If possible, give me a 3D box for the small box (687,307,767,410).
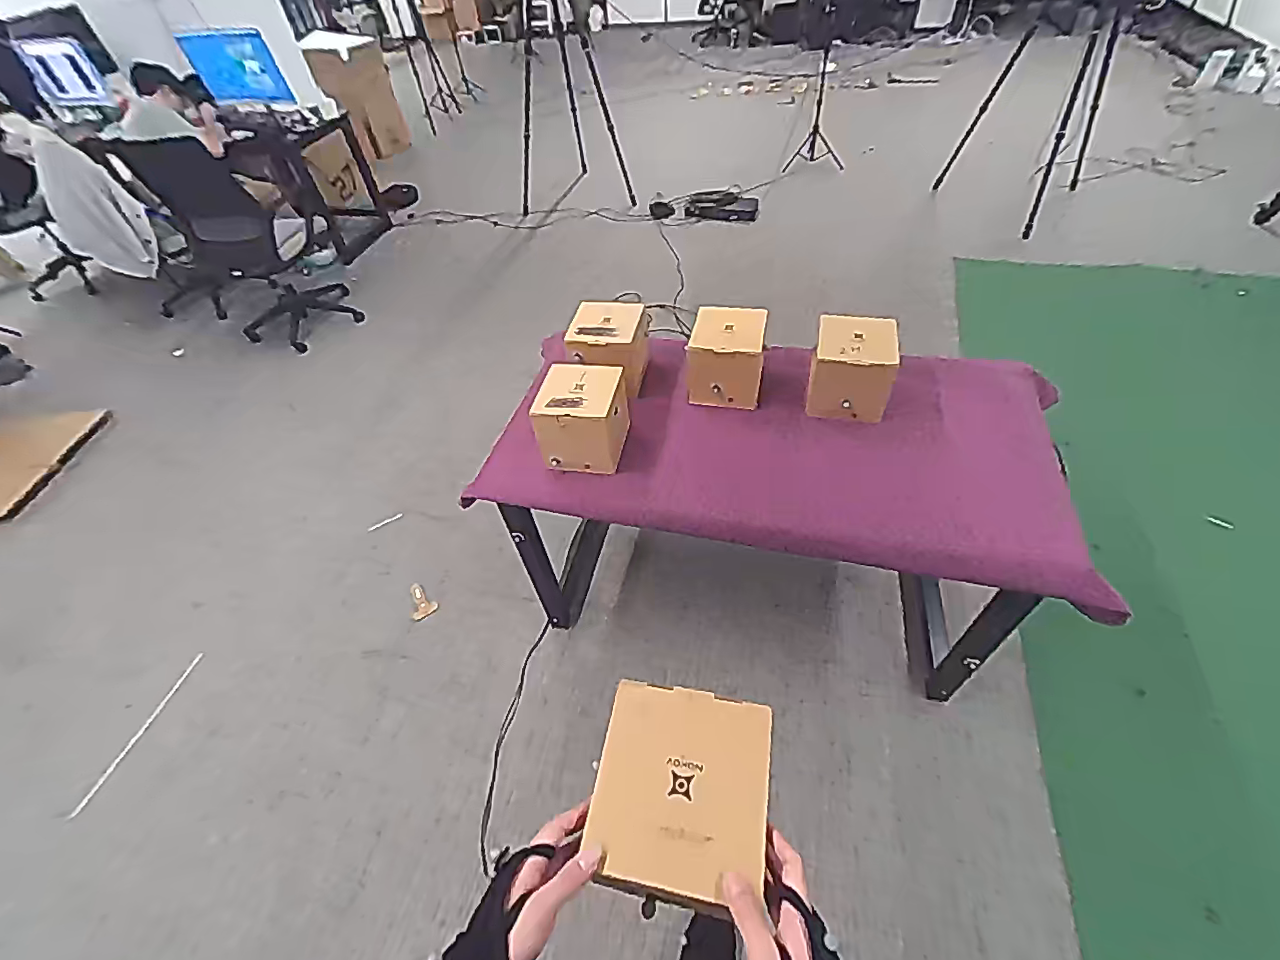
[{"bbox_3d":[0.211,-0.296,1.314,0.168,0.176,0.179,7,51,13],"label":"small box"}]

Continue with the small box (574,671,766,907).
[{"bbox_3d":[0.040,0.337,0.589,0.168,0.176,0.179,6,52,11],"label":"small box"}]

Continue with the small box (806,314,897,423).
[{"bbox_3d":[0.481,-0.256,1.241,0.168,0.176,0.179,8,51,14],"label":"small box"}]

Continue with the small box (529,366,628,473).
[{"bbox_3d":[-0.127,-0.133,1.208,0.168,0.176,0.179,5,47,11],"label":"small box"}]
